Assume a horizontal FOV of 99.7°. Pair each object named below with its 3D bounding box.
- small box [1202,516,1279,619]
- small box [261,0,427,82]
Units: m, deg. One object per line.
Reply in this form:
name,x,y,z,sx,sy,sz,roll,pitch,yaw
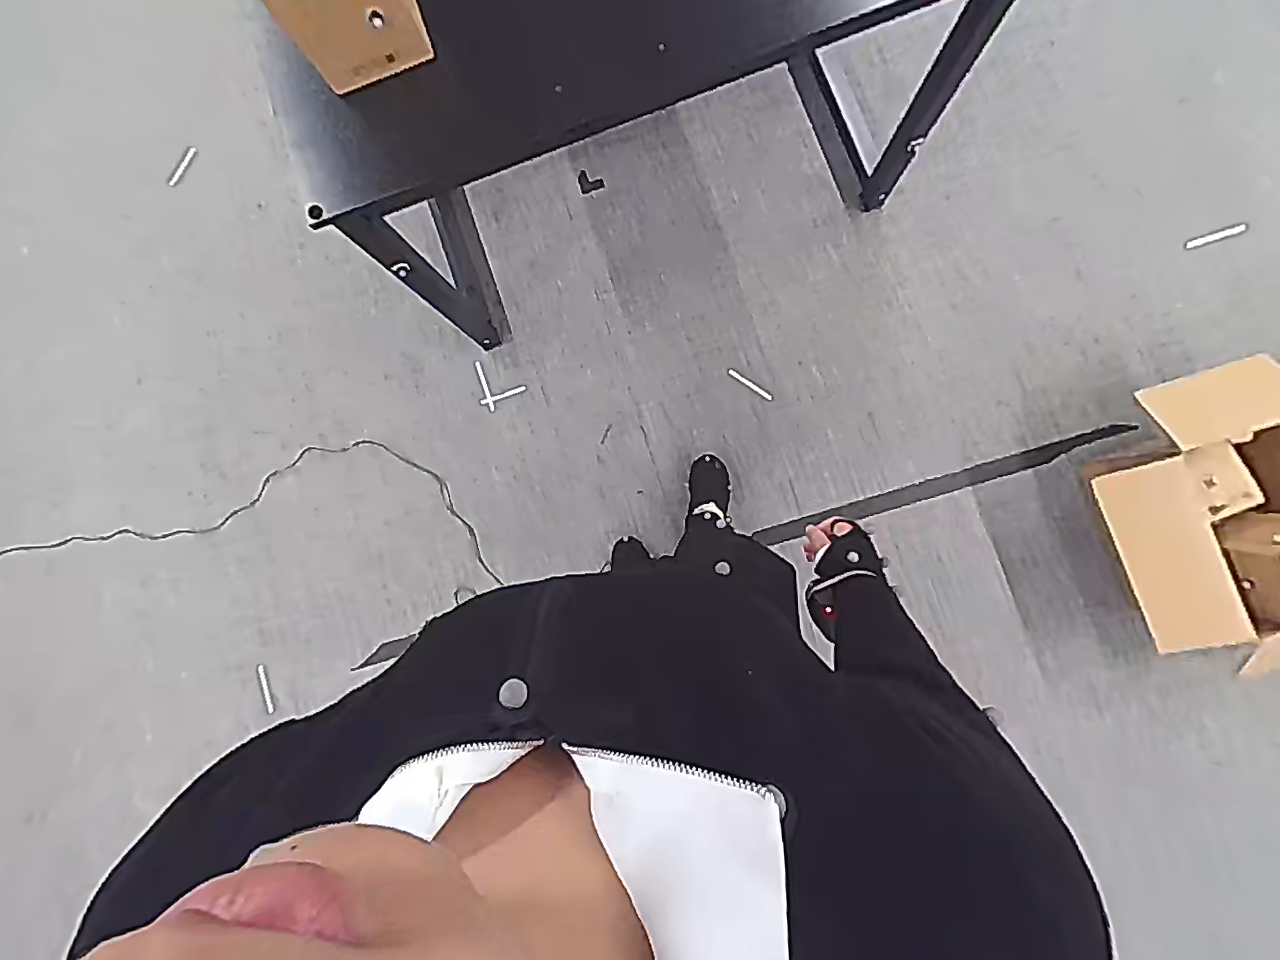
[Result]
small box,1.346,0.184,1.128,0.179,0.176,0.168,-24,89,3
small box,-0.429,-0.712,0.765,0.168,0.176,0.179,-19,85,2
